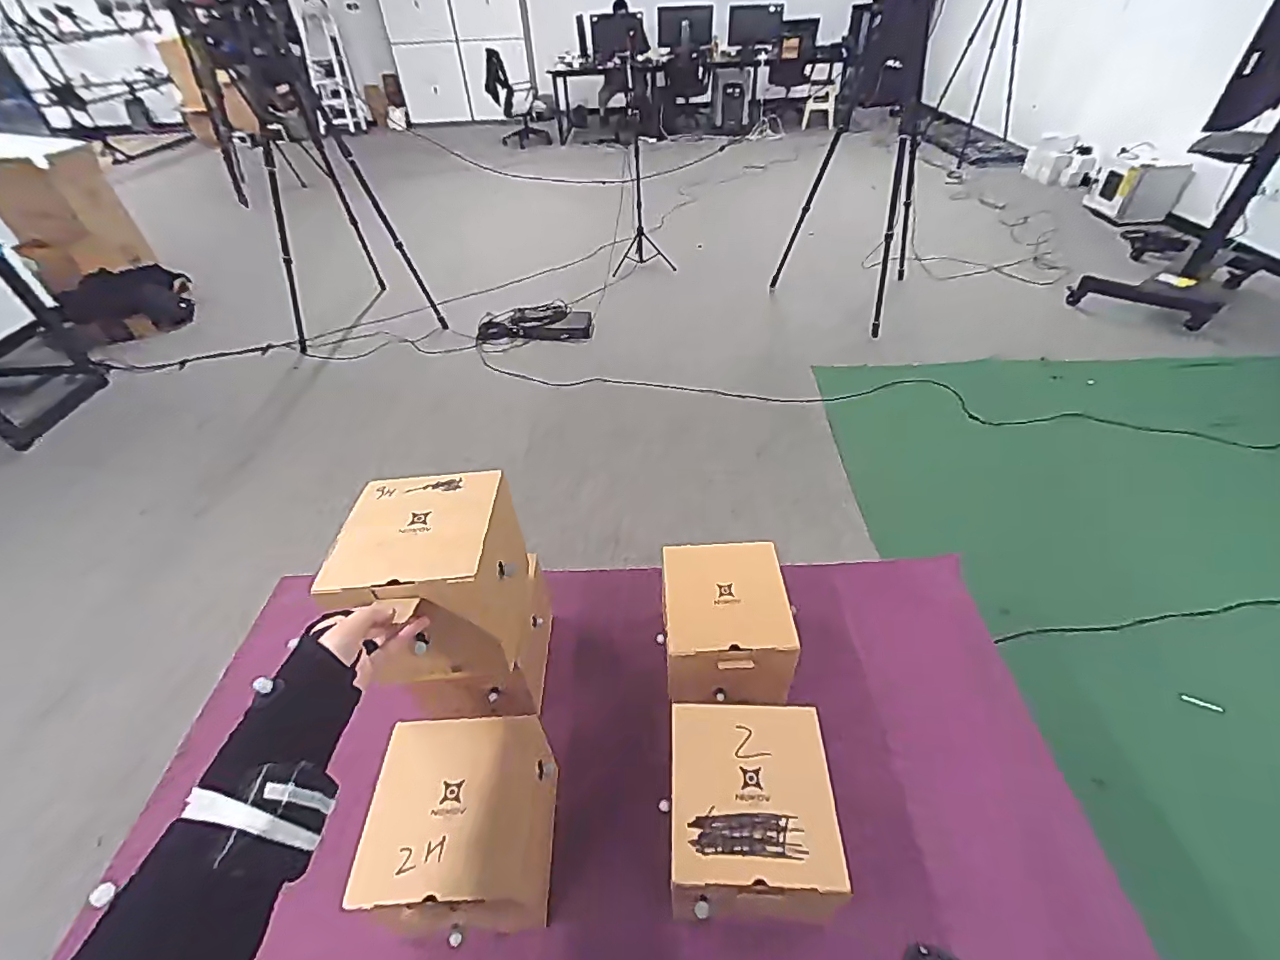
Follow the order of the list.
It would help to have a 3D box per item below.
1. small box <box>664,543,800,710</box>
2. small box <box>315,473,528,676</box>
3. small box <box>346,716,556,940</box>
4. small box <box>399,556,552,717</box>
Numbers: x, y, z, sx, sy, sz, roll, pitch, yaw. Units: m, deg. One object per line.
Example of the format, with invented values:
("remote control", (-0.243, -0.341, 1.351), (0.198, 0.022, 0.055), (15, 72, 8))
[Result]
("small box", (0.120, 0.213, 0.791), (0.168, 0.176, 0.179), (-3, 44, 1))
("small box", (-0.236, 0.115, 0.641), (0.168, 0.176, 0.179), (-5, 39, 0))
("small box", (-0.193, 0.395, 0.617), (0.168, 0.176, 0.179), (-4, 42, 1))
("small box", (-0.229, 0.232, 0.795), (0.168, 0.176, 0.179), (-1, 43, 1))
